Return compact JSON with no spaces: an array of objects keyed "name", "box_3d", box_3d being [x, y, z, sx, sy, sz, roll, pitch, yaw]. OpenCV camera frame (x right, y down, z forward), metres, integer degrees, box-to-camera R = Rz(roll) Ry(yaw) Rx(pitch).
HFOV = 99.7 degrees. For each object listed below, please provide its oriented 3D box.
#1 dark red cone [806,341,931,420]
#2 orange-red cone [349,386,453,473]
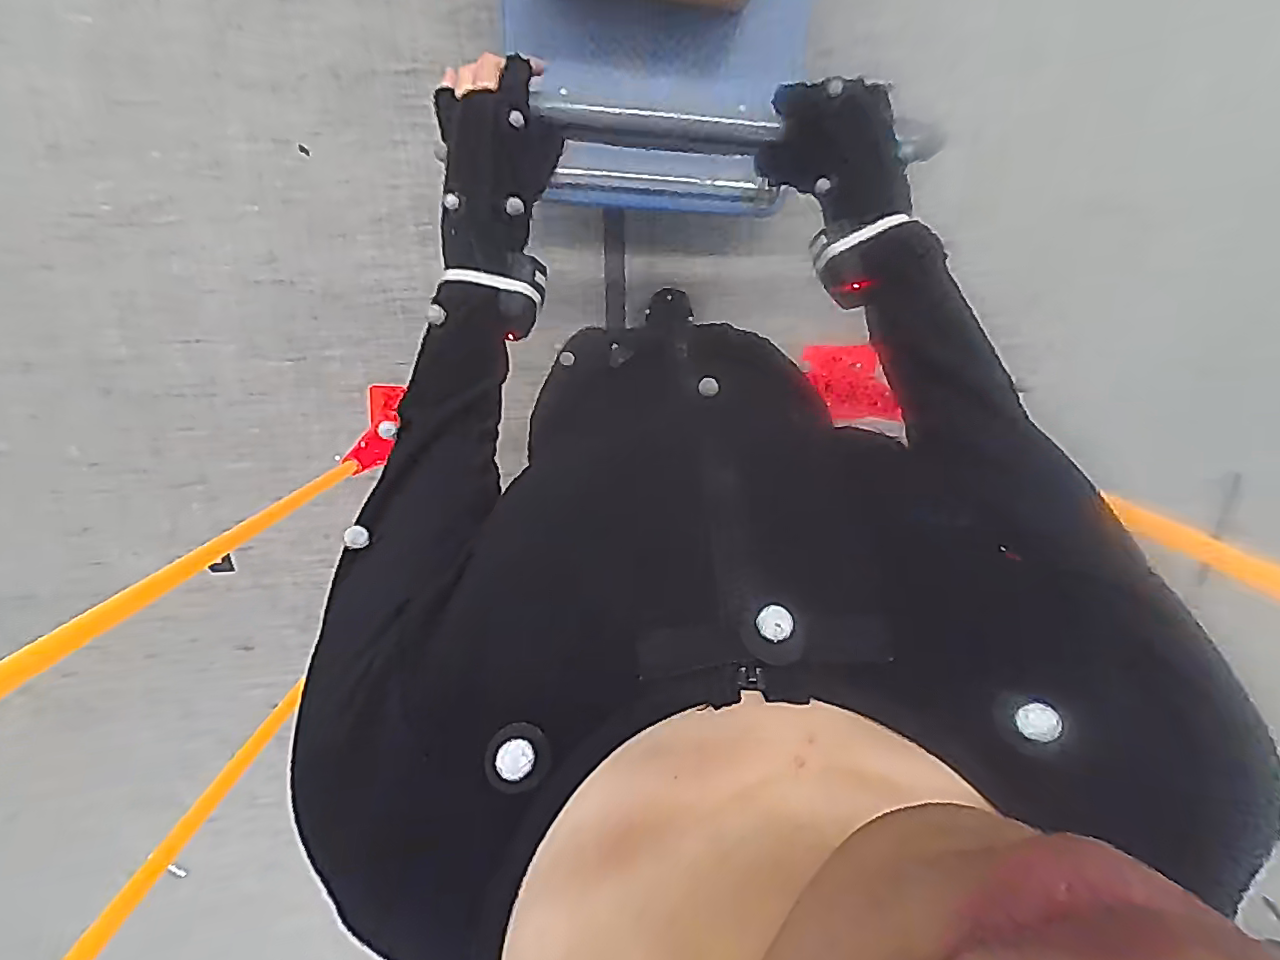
[{"name":"dark red cone","box_3d":[0.545,-0.203,1.254,0.201,0.394,0.202,-3,110,-4]},{"name":"orange-red cone","box_3d":[-0.584,-0.089,1.260,0.198,0.360,0.199,5,108,-6]}]
